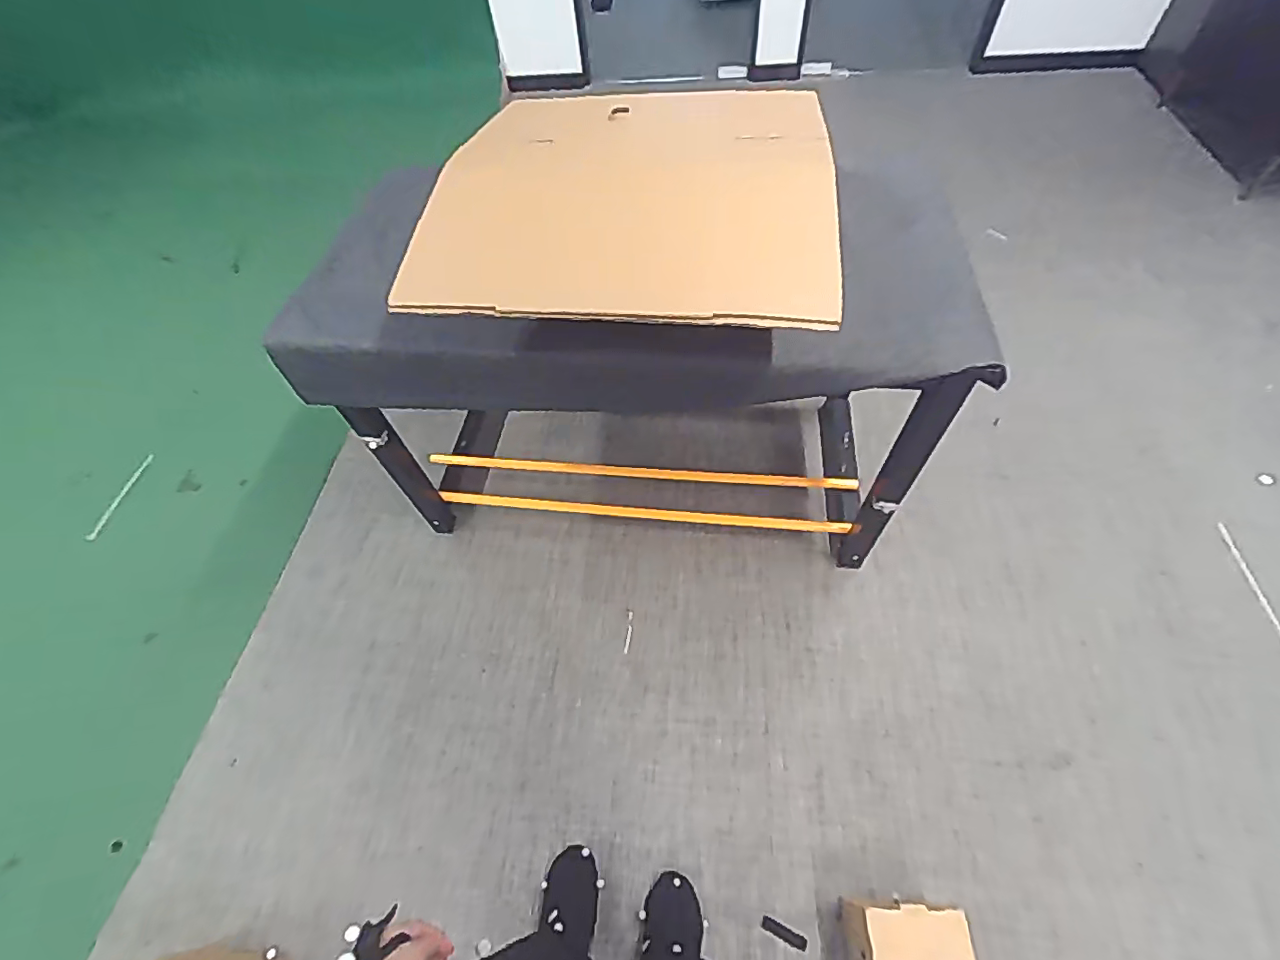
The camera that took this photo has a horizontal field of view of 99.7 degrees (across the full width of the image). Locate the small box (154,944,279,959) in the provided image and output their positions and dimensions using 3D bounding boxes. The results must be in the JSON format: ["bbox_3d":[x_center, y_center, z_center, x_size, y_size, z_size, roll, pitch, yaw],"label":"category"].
[{"bbox_3d":[-0.767,0.946,0.945,0.168,0.176,0.179,5,58,8],"label":"small box"}]

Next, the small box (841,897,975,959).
[{"bbox_3d":[0.459,0.831,0.927,0.168,0.176,0.179,-1,55,4],"label":"small box"}]
